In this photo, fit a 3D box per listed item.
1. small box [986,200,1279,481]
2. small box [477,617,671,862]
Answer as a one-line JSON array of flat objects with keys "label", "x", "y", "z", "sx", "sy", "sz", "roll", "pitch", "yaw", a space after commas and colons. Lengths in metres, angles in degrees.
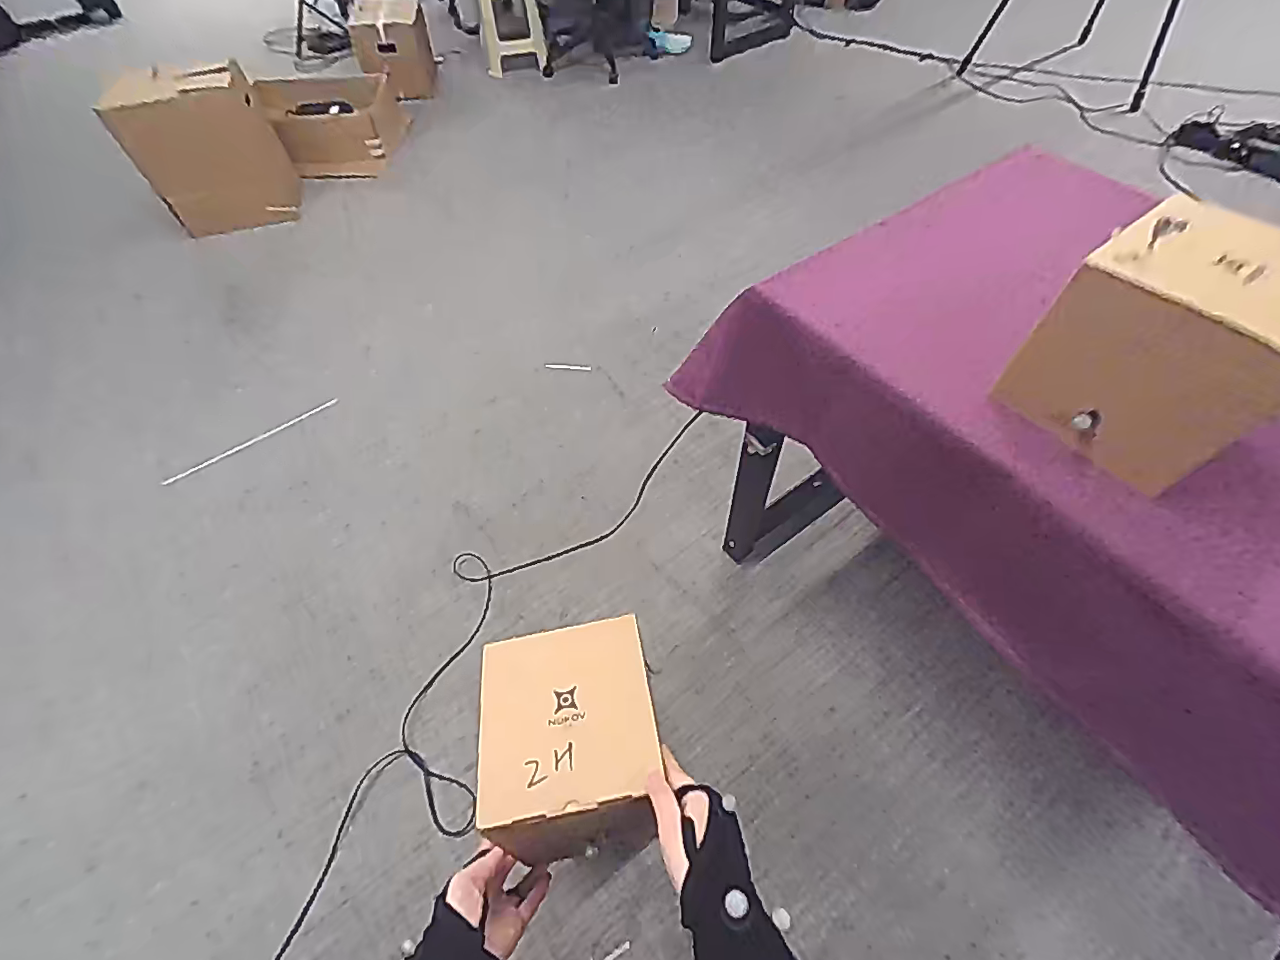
[{"label": "small box", "x": 0.487, "y": -0.122, "z": 0.512, "sx": 0.168, "sy": 0.176, "sz": 0.179, "roll": -33, "pitch": 62, "yaw": -19}, {"label": "small box", "x": -0.065, "y": 0.279, "z": 0.582, "sx": 0.168, "sy": 0.176, "sz": 0.179, "roll": -12, "pitch": 46, "yaw": -2}]
